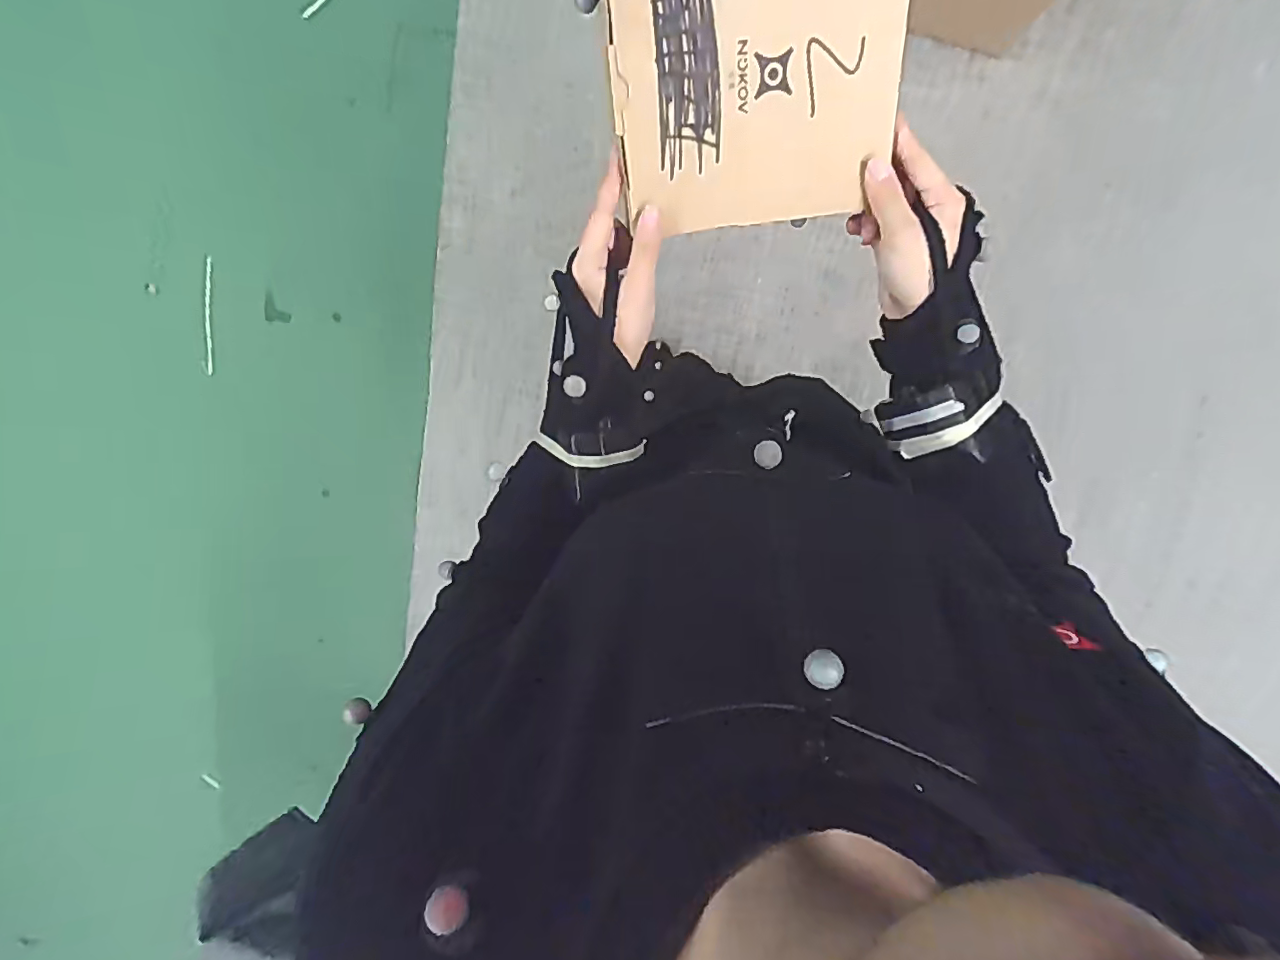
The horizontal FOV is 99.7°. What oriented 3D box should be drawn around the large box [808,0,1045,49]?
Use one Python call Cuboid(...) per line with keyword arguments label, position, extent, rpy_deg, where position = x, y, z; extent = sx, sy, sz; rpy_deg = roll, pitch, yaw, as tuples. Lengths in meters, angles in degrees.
Cuboid(label="large box", position=(0.540, -1.010, 0.897), extent=(0.408, 0.320, 0.320), rpy_deg=(18, 107, 3))
